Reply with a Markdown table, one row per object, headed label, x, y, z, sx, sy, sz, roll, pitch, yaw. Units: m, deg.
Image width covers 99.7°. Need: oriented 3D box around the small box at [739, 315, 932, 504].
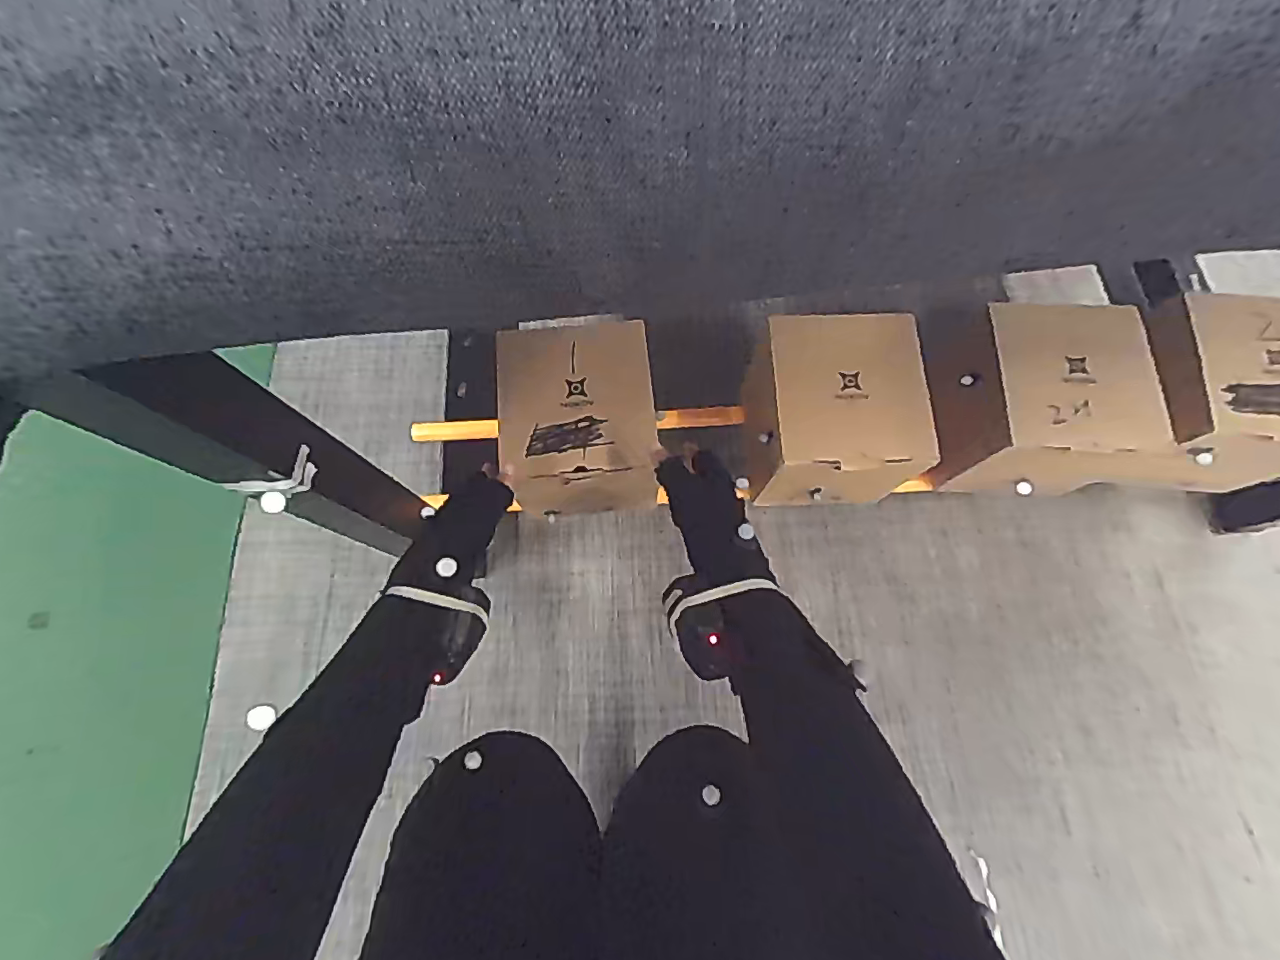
| label | x | y | z | sx | sy | sz | roll | pitch | yaw |
| --- | --- | --- | --- | --- | --- | --- | --- | --- | --- |
| small box | 0.218 | -0.077 | 0.655 | 0.168 | 0.176 | 0.179 | -1 | 73 | 0 |
